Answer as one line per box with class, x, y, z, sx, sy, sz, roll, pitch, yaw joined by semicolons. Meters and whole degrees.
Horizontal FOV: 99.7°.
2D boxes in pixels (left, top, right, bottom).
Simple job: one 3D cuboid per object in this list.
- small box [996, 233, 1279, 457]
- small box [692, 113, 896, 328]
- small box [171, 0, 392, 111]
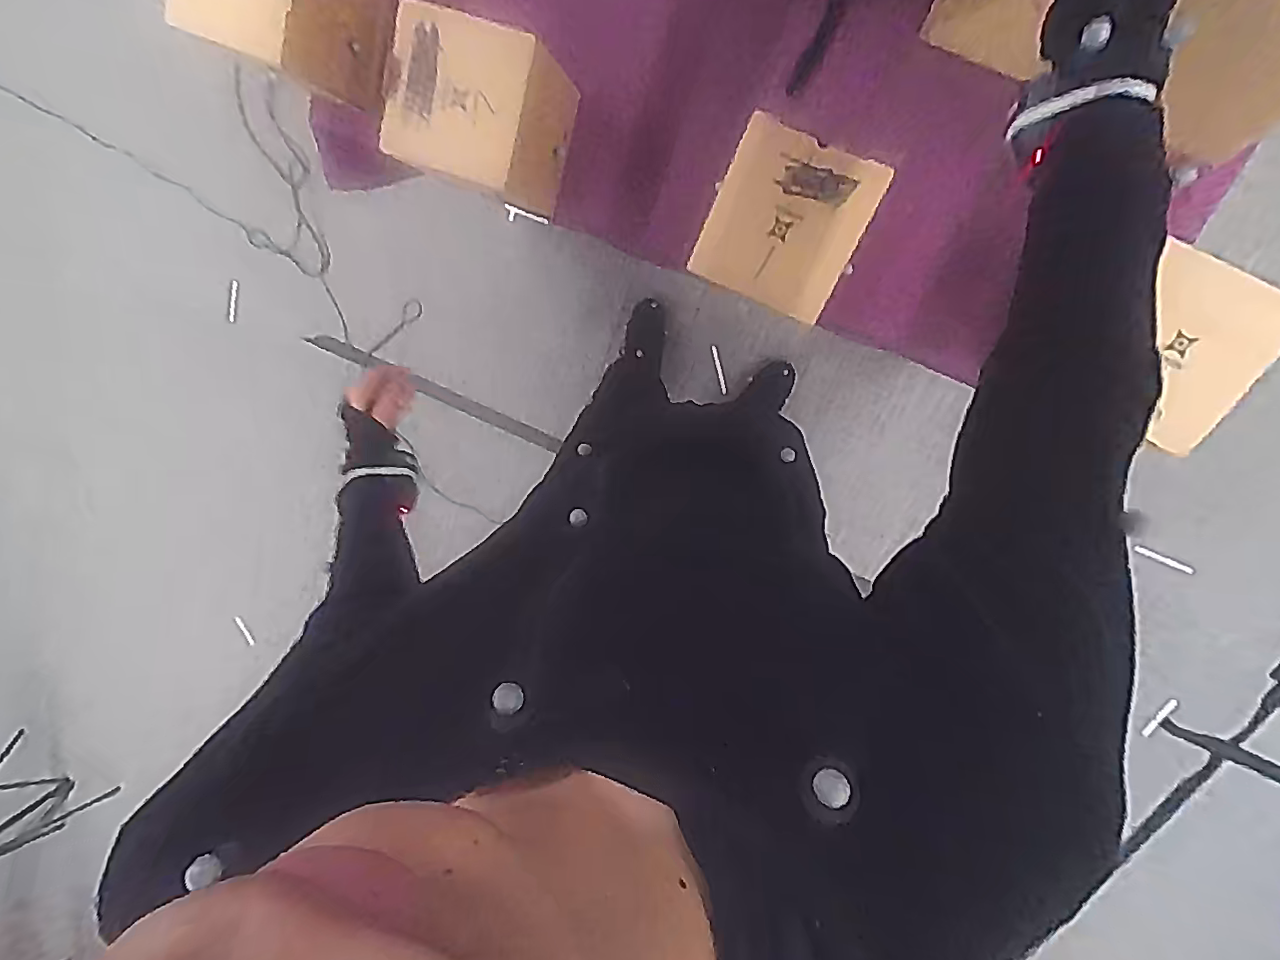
small box;0.565;-0.155;0.632;0.168;0.176;0.179;29;110;4
small box;0.182;-0.307;0.678;0.168;0.176;0.179;27;111;5
small box;-0.475;-0.637;0.731;0.179;0.176;0.168;22;109;5
